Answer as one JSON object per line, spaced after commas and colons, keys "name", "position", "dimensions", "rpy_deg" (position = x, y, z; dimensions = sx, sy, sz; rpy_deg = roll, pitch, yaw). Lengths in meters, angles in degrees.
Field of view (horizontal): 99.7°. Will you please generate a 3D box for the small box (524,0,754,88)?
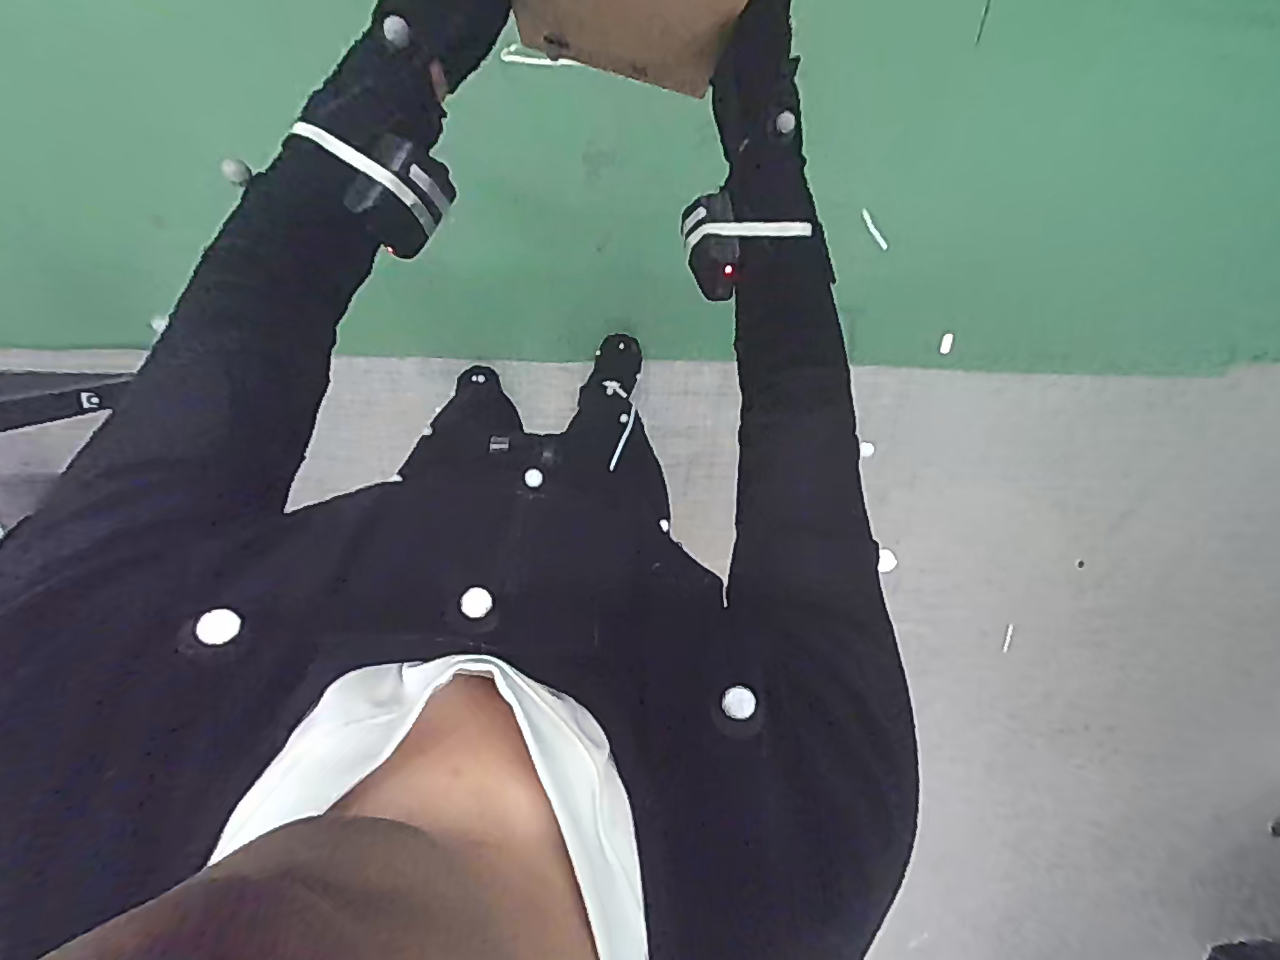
{"name": "small box", "position": [0.007, -0.416, 0.380], "dimensions": [0.168, 0.176, 0.179], "rpy_deg": [7, 106, -7]}
